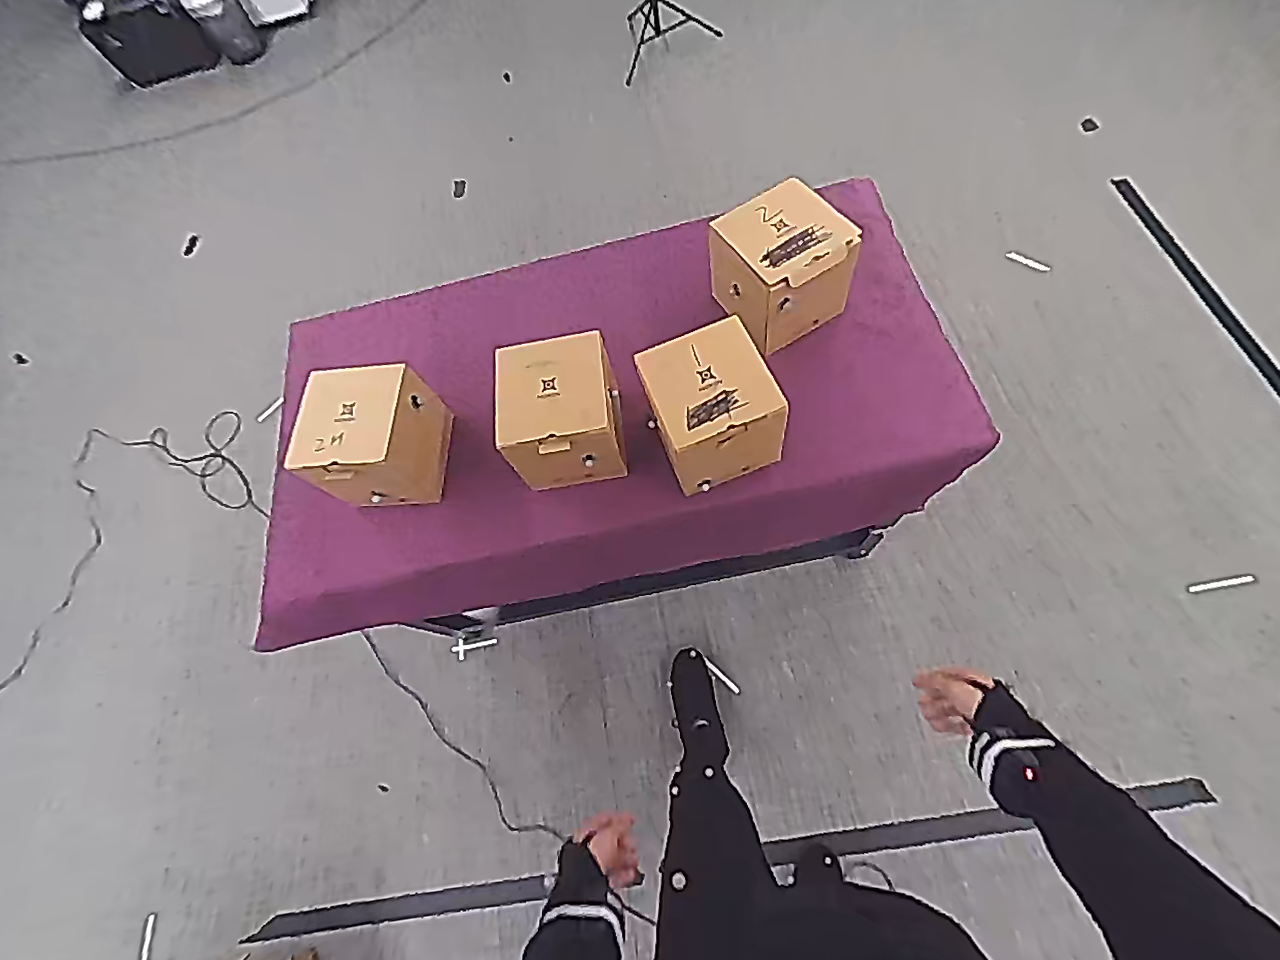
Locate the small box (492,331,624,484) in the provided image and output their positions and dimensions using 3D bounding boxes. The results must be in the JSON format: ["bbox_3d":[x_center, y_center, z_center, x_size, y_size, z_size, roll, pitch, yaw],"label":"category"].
[{"bbox_3d":[-0.124,-0.103,0.861,0.168,0.176,0.179,-9,66,5],"label":"small box"}]

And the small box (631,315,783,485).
[{"bbox_3d":[0.103,-0.109,0.824,0.168,0.176,0.179,-22,64,0],"label":"small box"}]

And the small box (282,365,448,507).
[{"bbox_3d":[-0.438,-0.067,0.894,0.168,0.176,0.179,-3,67,8],"label":"small box"}]
